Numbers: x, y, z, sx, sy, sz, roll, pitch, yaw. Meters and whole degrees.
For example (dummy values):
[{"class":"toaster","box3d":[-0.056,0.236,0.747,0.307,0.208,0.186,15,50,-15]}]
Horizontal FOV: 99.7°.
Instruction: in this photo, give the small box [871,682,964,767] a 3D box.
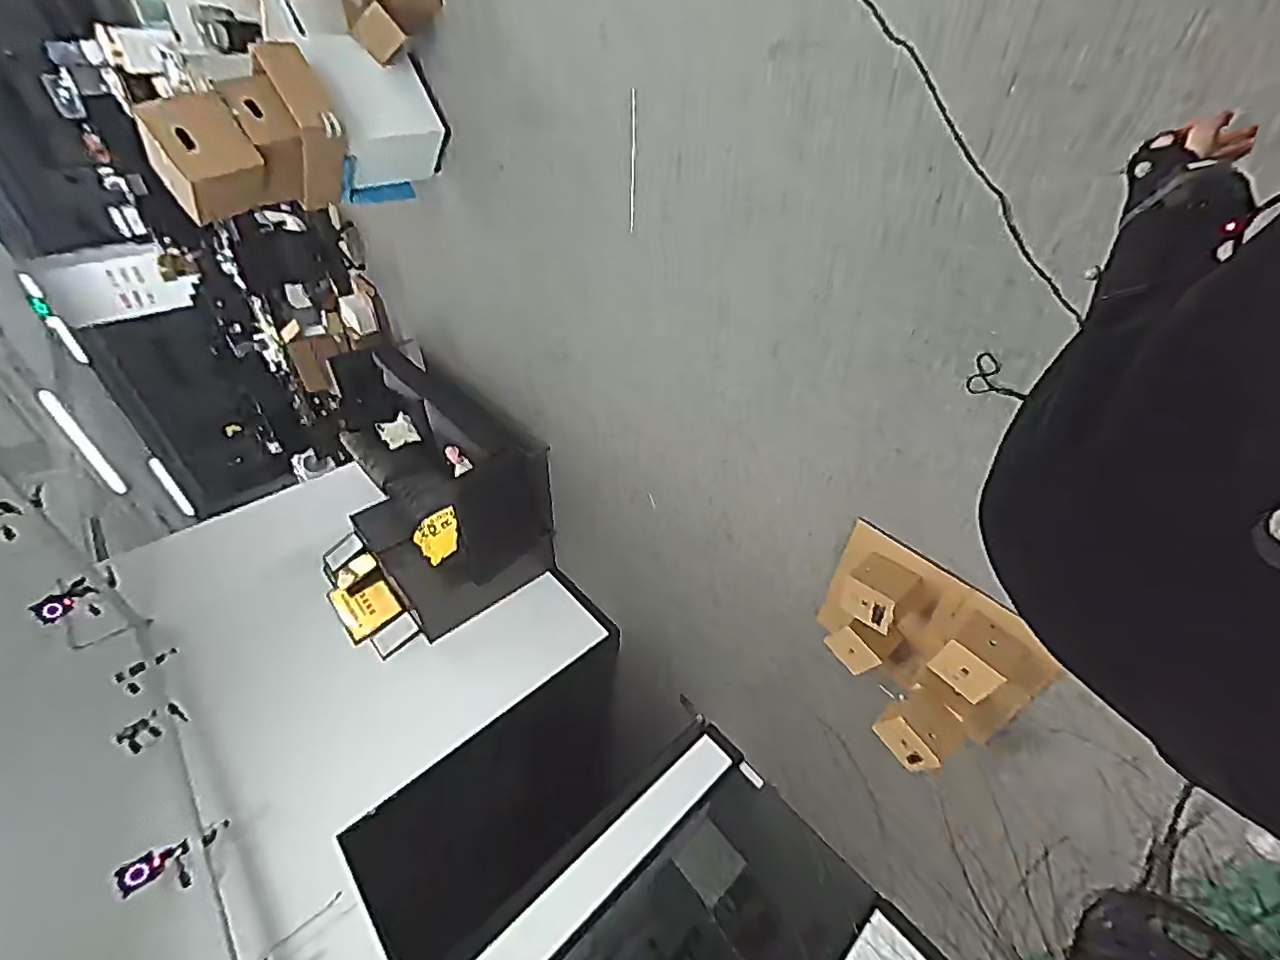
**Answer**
[{"class":"small box","box3d":[0.907,0.797,1.762,0.179,0.176,0.168,50,148,18]}]

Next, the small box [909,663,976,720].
[{"class":"small box","box3d":[1.029,0.730,1.850,0.168,0.176,0.179,39,143,32]}]

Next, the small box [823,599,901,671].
[{"class":"small box","box3d":[0.826,0.575,2.005,0.168,0.176,0.179,49,147,18]}]

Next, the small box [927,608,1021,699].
[{"class":"small box","box3d":[1.038,0.532,1.673,0.168,0.176,0.179,42,144,29]}]
